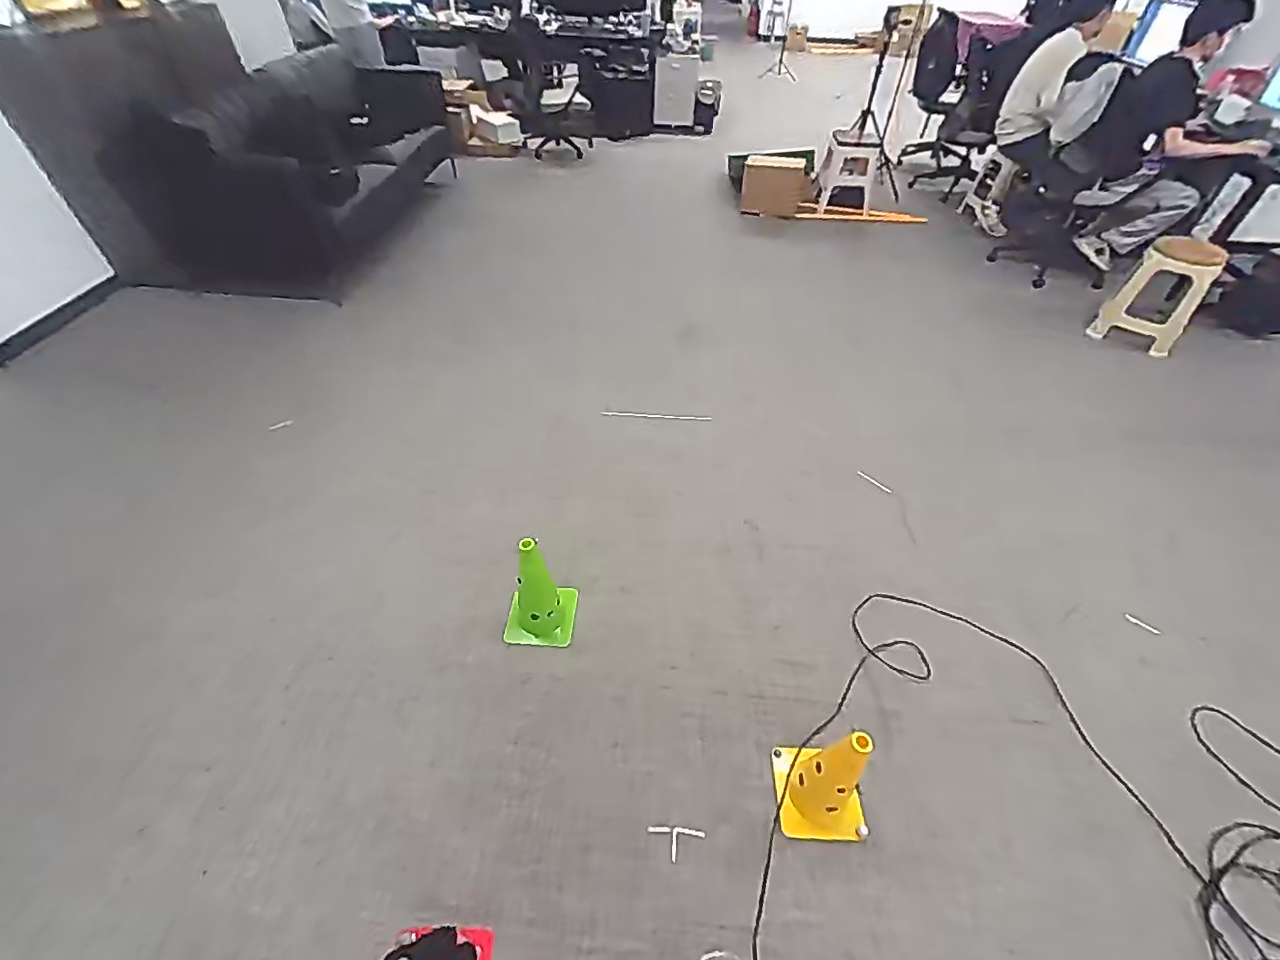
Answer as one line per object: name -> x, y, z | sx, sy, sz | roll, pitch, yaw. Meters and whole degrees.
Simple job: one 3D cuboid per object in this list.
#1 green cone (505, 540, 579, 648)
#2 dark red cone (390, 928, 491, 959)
green cone -> -0.291, 0.297, 1.524 | 0.202, 0.368, 0.200 | 4, 46, 1
dark red cone -> -0.396, 0.882, 0.920 | 0.202, 0.394, 0.201 | 0, 47, -1
